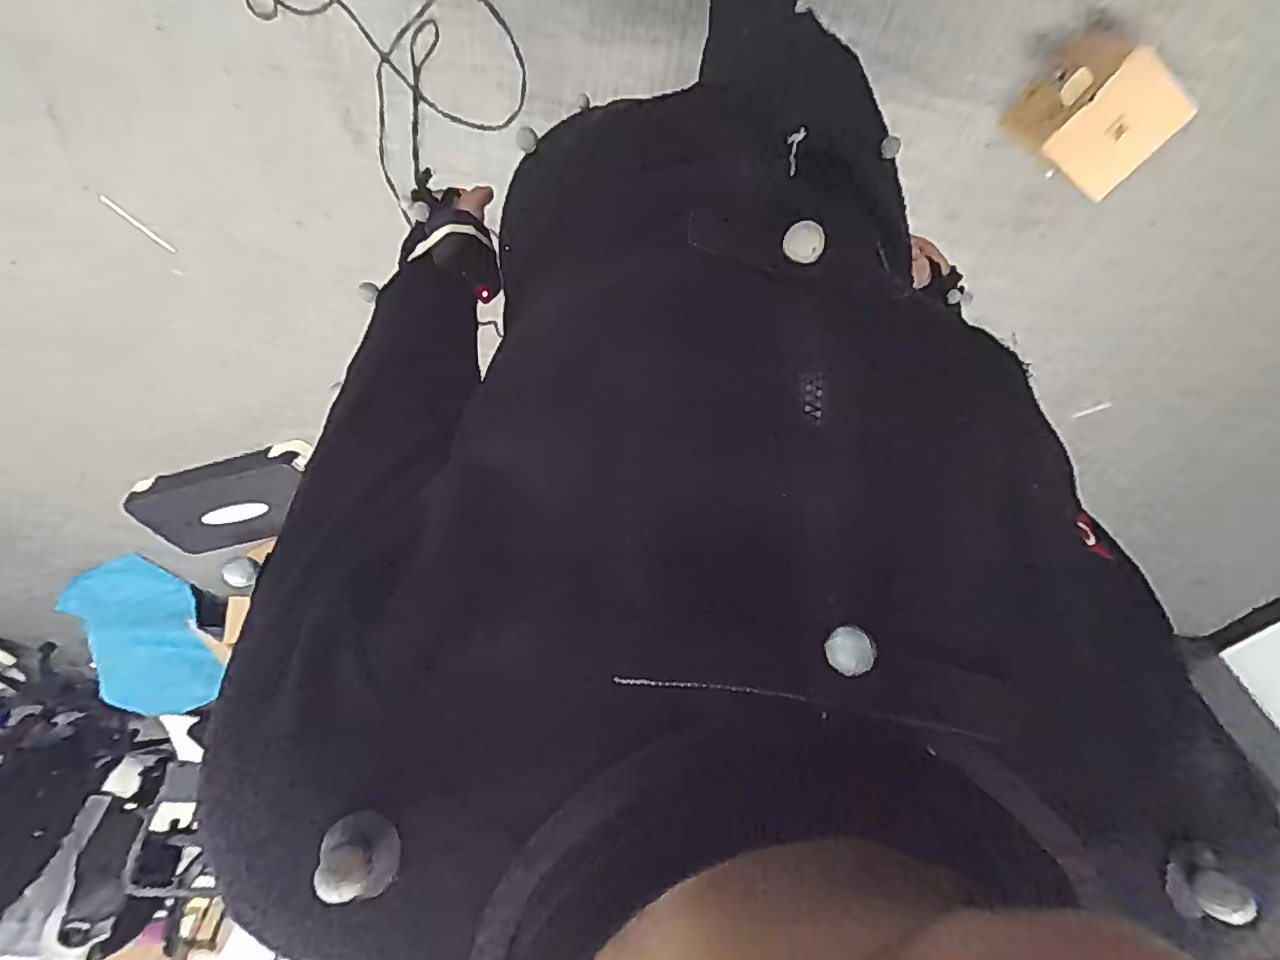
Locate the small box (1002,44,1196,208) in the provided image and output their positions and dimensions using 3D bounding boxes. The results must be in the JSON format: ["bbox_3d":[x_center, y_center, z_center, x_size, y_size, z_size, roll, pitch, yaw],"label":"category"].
[{"bbox_3d":[0.798,-0.630,0.958,0.179,0.176,0.168,23,131,-20],"label":"small box"}]
